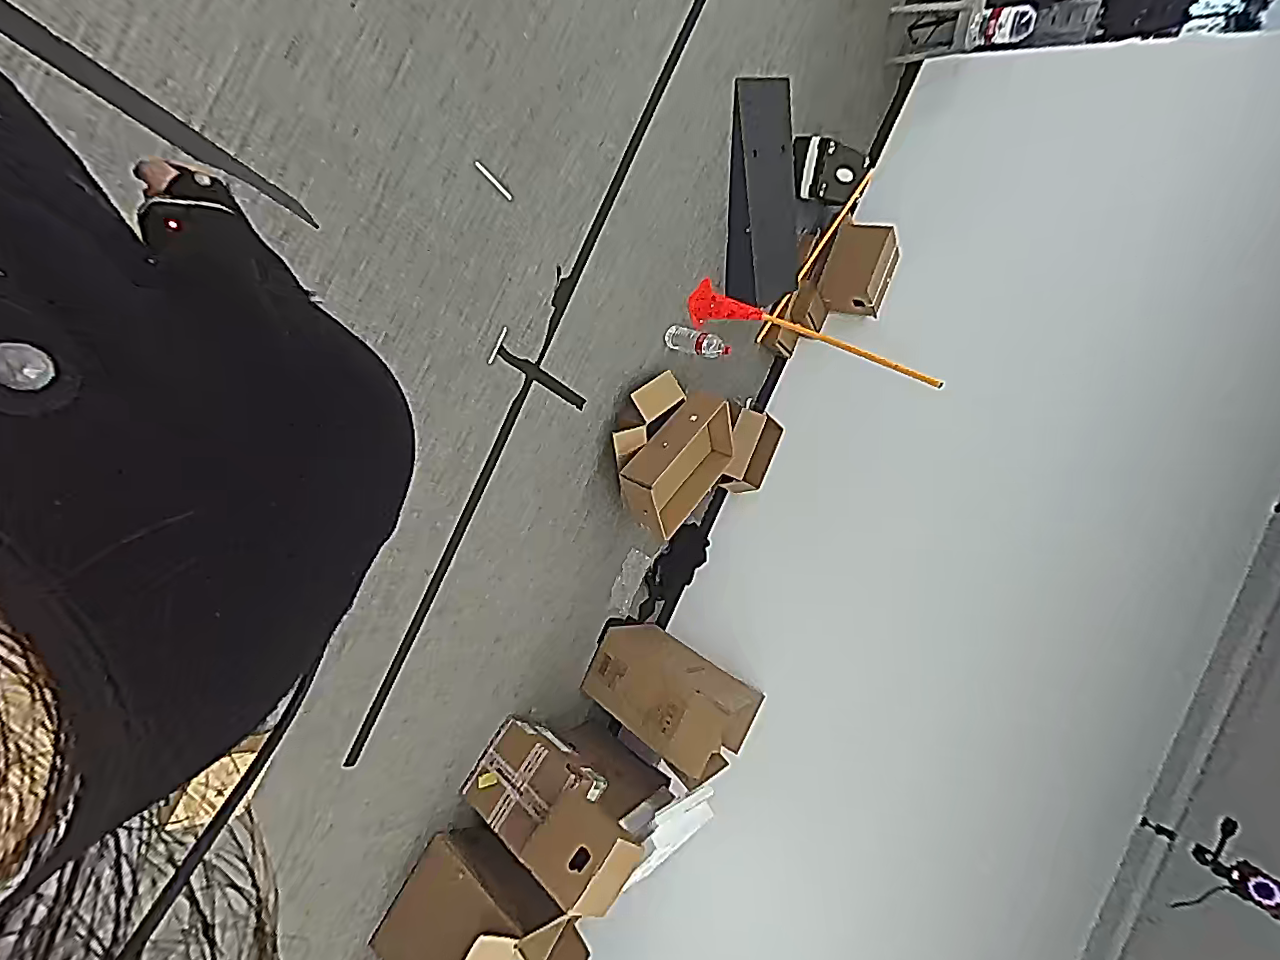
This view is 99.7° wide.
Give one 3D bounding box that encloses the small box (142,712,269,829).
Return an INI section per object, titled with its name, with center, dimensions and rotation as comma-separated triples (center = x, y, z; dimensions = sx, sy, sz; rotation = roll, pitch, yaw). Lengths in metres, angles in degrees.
[small box]
center = -1.056, 0.693, 1.310
dimensions = 0.179, 0.176, 0.168
rotation = -64, 149, -5
